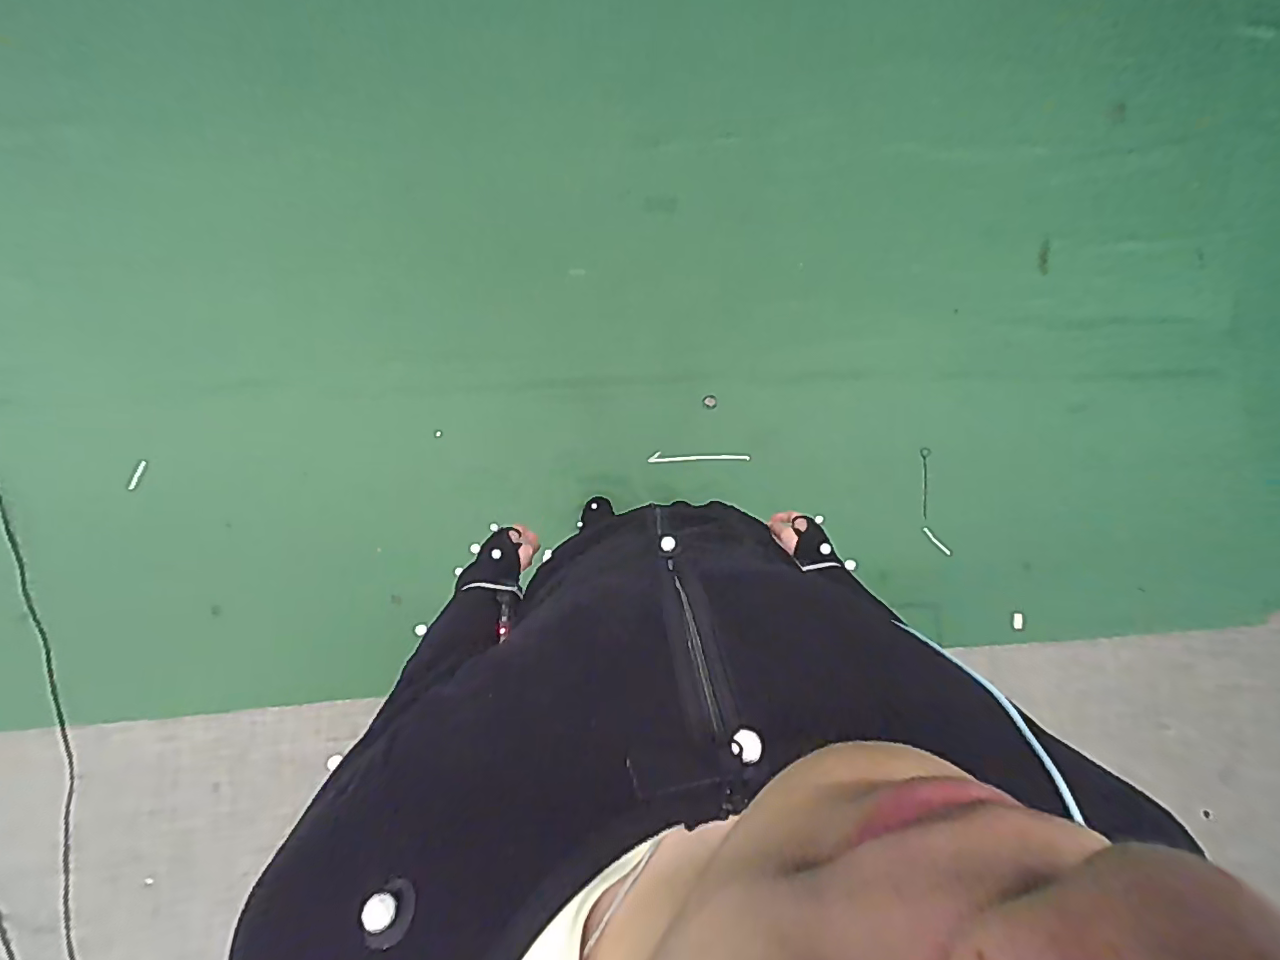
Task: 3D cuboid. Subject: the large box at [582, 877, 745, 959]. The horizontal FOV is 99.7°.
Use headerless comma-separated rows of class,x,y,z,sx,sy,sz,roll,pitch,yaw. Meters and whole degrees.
large box,0.060,1.347,1.447,0.408,0.320,0.320,-5,88,-6
